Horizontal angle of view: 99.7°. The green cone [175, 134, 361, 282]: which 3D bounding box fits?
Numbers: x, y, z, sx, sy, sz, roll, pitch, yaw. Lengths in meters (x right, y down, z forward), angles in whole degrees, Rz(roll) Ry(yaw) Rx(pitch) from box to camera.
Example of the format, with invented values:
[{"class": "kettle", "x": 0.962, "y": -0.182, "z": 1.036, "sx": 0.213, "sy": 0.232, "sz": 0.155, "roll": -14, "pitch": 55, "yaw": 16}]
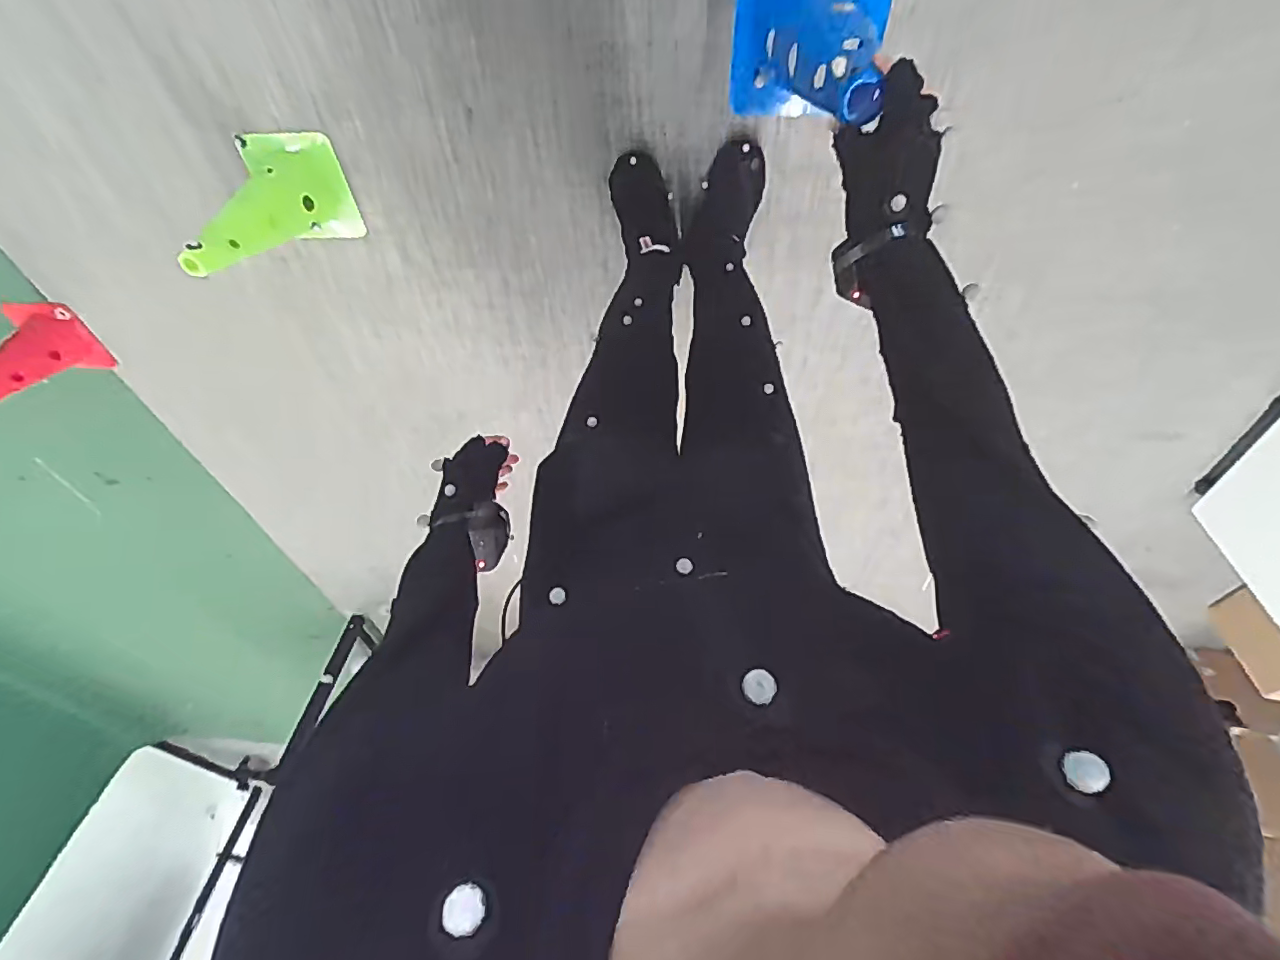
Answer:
[{"class": "green cone", "x": -0.715, "y": -0.464, "z": 0.992, "sx": 0.202, "sy": 0.368, "sz": 0.200, "roll": 1, "pitch": 137, "yaw": 7}]
